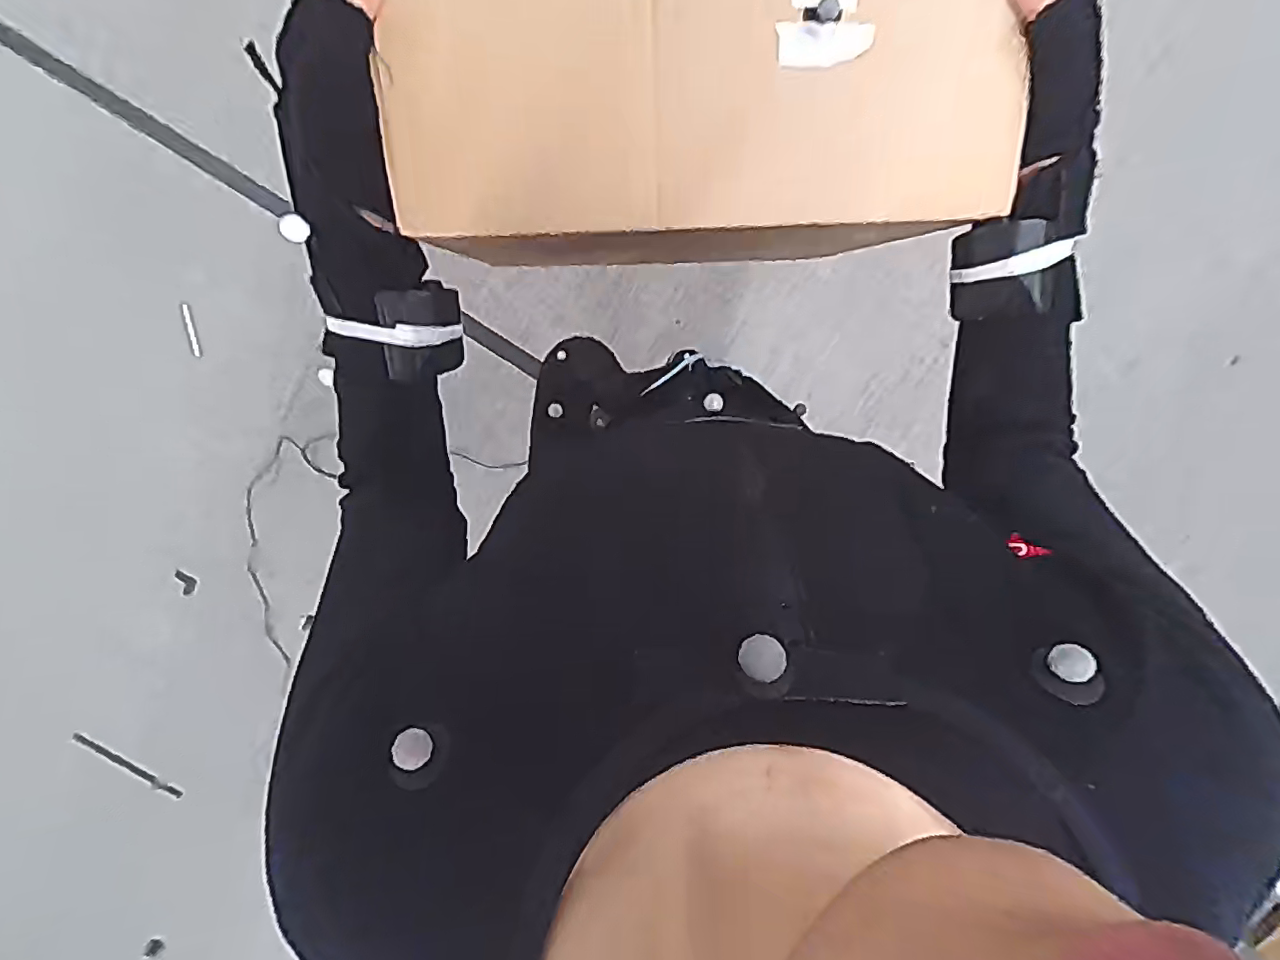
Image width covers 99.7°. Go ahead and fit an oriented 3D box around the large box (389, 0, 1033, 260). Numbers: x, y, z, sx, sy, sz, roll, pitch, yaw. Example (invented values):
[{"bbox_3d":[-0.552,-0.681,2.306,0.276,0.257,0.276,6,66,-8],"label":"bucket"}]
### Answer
[{"bbox_3d":[0.035,-0.369,0.459,0.408,0.320,0.320,-3,109,-4],"label":"large box"}]
